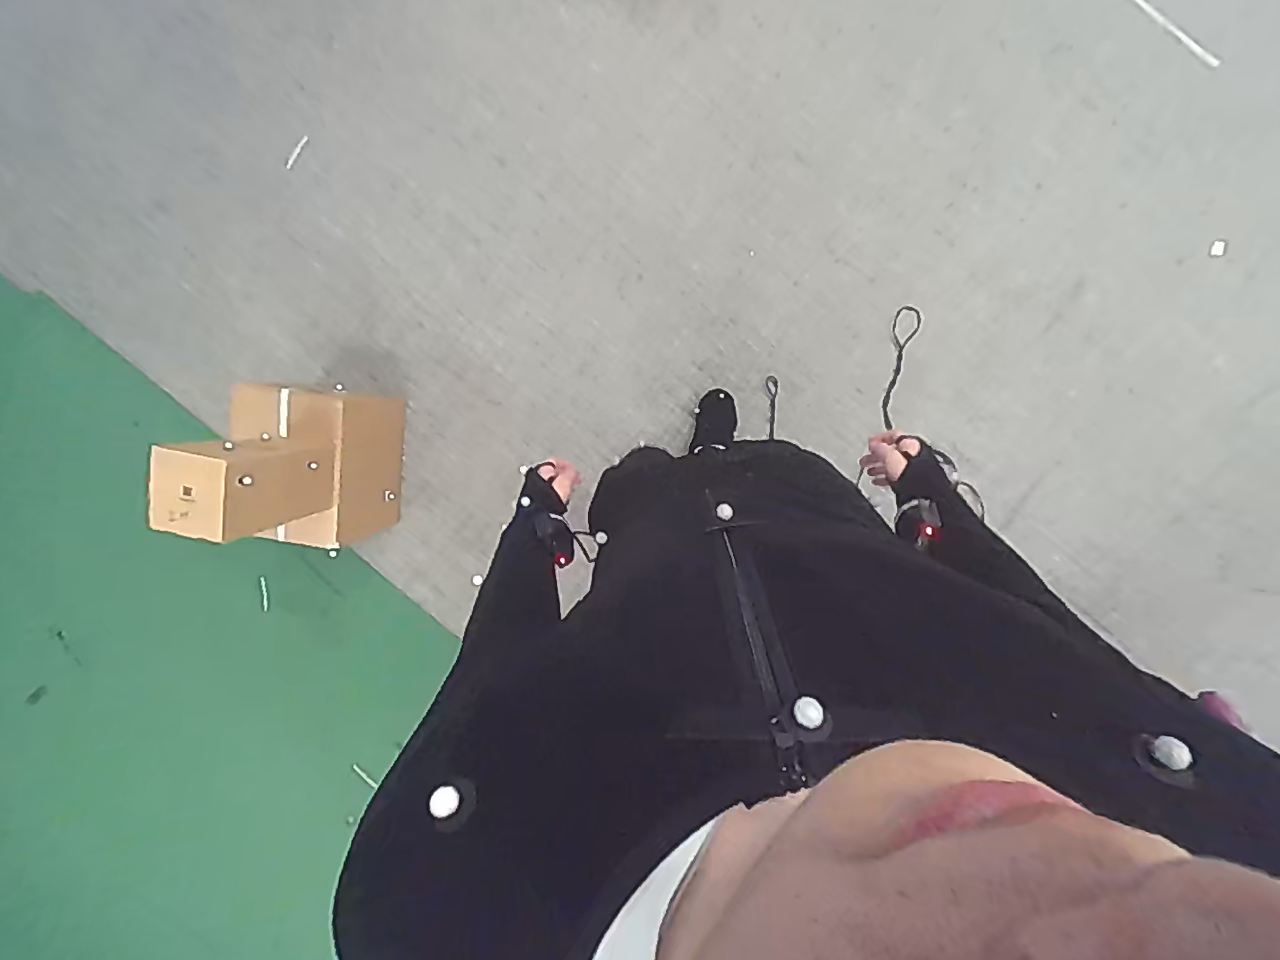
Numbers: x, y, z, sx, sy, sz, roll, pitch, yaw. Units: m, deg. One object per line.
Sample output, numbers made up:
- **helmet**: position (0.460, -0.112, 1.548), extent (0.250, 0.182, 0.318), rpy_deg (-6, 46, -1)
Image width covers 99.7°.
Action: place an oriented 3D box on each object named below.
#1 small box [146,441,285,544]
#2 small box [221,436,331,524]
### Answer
- **small box**: position (-0.898, 0.018, 1.156), extent (0.168, 0.176, 0.179), rpy_deg (11, 100, 5)
- **small box**: position (-0.883, -0.008, 1.318), extent (0.168, 0.176, 0.179), rpy_deg (9, 100, 4)
